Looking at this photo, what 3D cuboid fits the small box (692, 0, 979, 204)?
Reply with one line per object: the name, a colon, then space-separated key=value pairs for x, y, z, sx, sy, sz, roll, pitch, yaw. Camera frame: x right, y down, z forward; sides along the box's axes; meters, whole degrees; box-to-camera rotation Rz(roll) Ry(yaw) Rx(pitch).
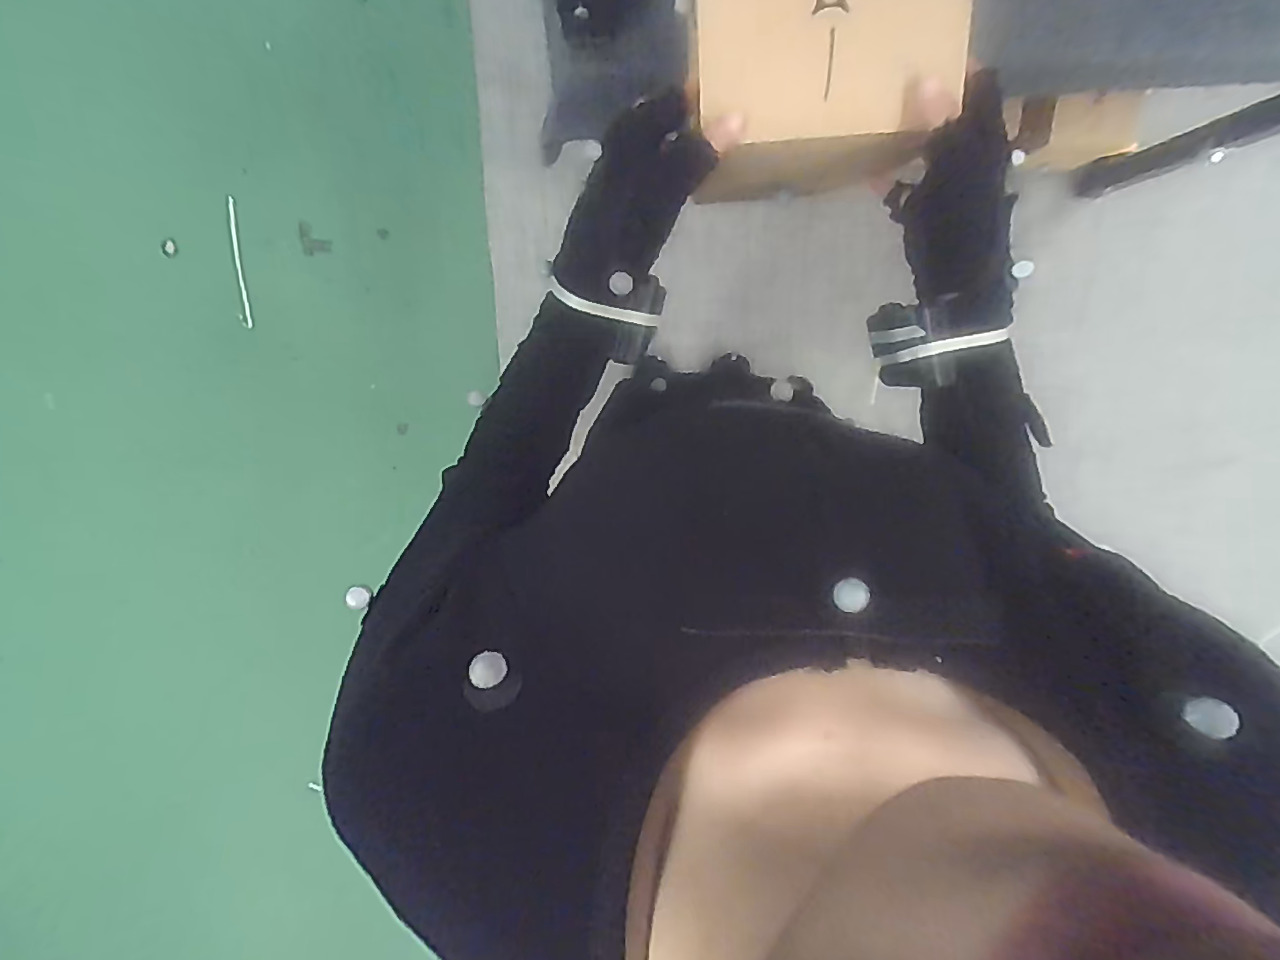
small box: x=0.125 y=-0.324 z=0.401 sx=0.168 sy=0.176 sz=0.179 roll=-2 pitch=105 yaw=5
